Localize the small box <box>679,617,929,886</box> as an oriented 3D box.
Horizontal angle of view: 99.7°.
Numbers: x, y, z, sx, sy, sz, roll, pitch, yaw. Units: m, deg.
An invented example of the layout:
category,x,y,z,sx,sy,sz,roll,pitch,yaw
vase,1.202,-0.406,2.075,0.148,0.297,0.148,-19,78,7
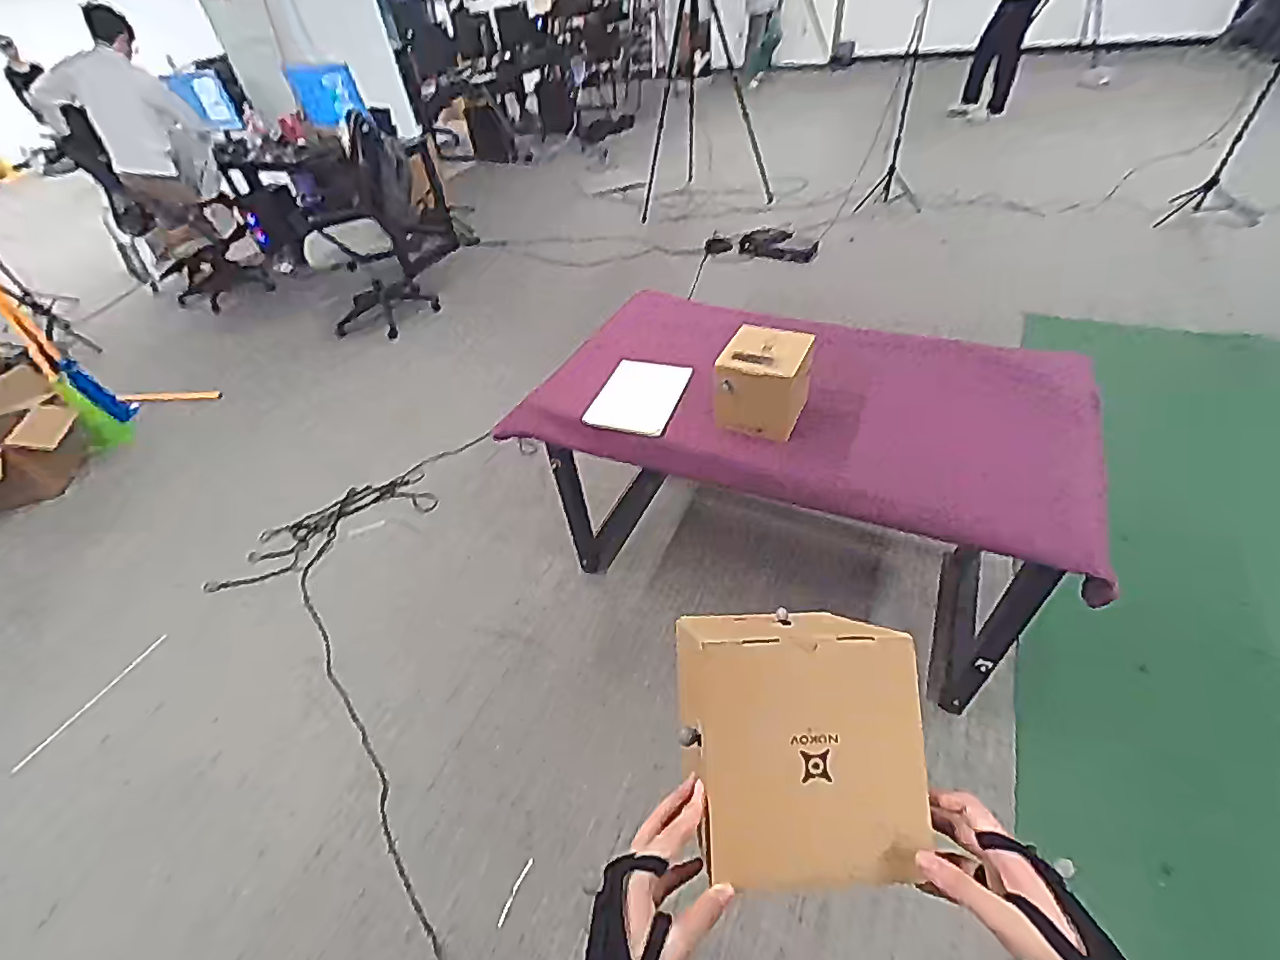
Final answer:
category,x,y,z,sx,sy,sz,roll,pitch,yaw
small box,0.126,0.220,0.484,0.168,0.176,0.179,-1,79,-2
